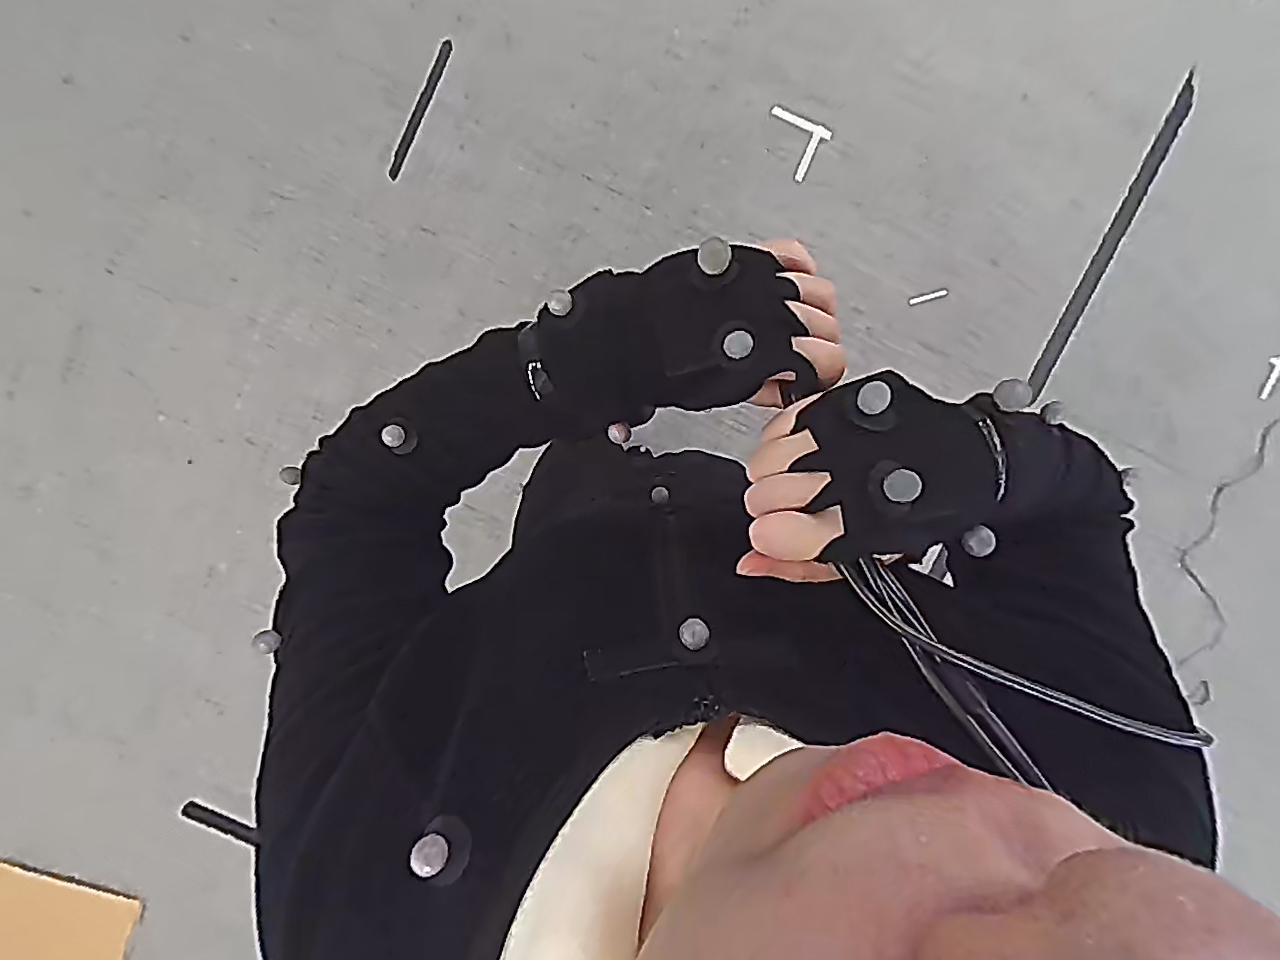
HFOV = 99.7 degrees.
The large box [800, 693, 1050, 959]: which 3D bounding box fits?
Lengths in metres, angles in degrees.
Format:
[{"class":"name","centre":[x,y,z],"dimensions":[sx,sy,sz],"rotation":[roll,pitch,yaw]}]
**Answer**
[{"class":"large box","centre":[0.607,0.765,1.217],"dimensions":[0.320,0.320,0.408],"rotation":[18,93,-1]}]
